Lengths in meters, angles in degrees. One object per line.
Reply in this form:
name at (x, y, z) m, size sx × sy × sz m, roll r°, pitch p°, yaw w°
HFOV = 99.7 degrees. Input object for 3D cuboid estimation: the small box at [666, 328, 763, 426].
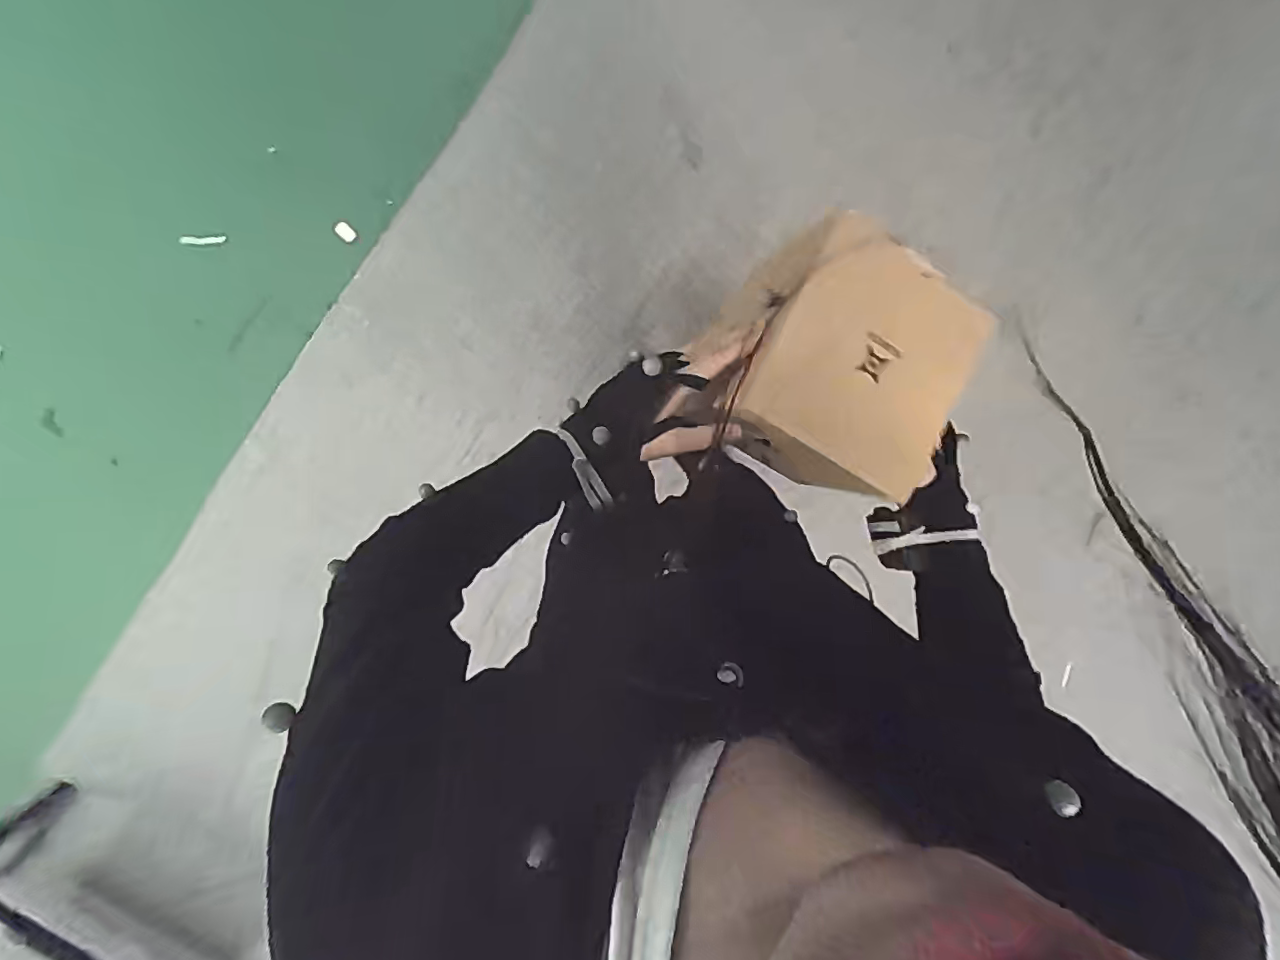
small box at (0.181, -0.262, 1.354) m, size 0.168 × 0.176 × 0.179 m, roll 34°, pitch 104°, yaw -8°
